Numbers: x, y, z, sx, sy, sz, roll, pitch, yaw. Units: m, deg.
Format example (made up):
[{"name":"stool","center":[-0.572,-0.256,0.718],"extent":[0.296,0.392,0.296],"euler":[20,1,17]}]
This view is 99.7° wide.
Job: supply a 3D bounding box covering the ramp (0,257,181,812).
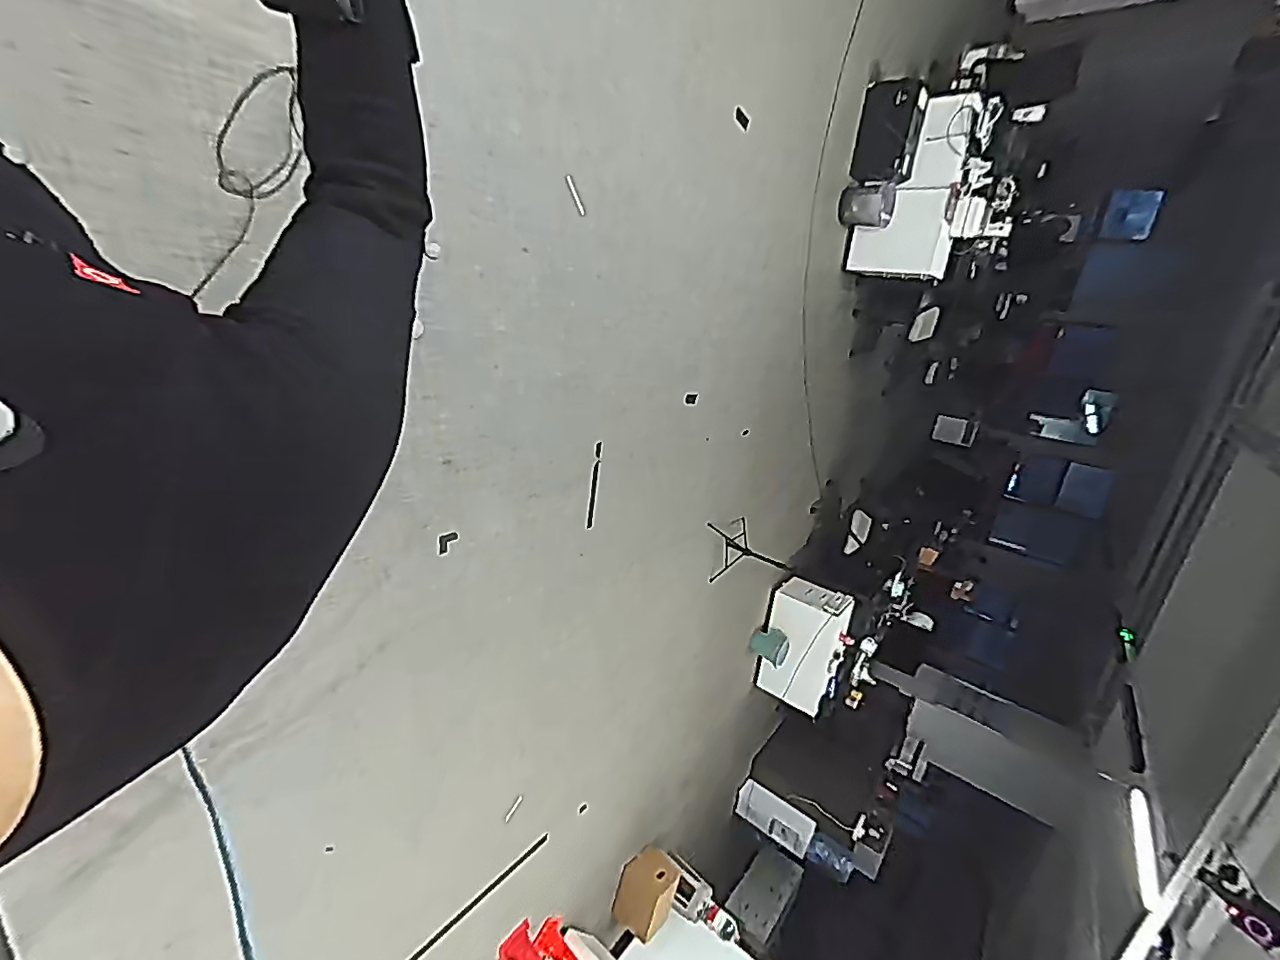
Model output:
[{"name":"ramp","center":[-1.200,0.128,0.923],"extent":[0.509,0.206,0.991],"euler":[-18,120,-48]}]
